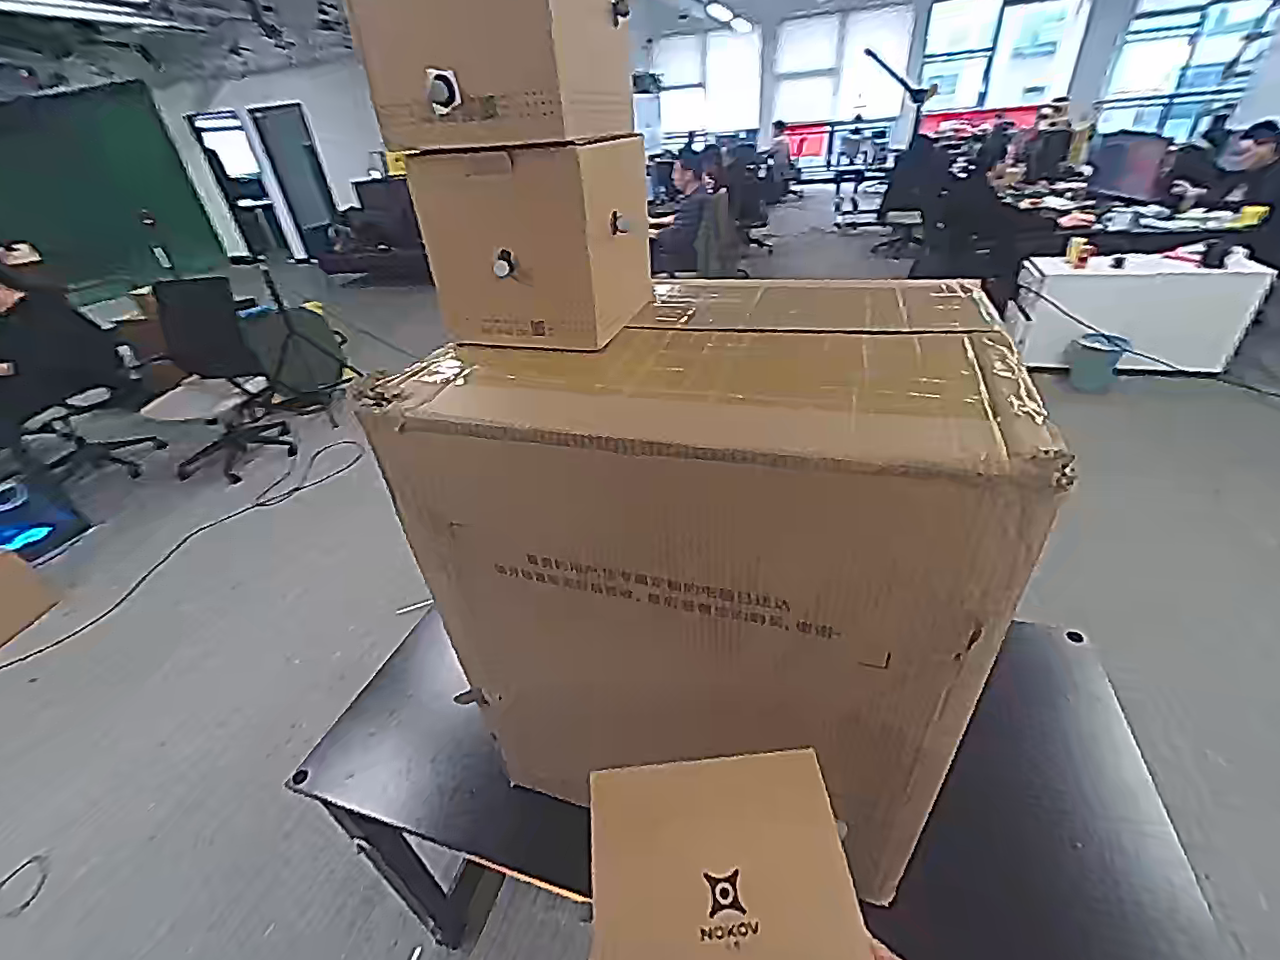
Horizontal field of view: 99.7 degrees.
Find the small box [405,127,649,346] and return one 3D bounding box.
[{"bbox_3d":[-0.092,-0.243,0.542,0.168,0.176,0.179,7,36,16],"label":"small box"}]

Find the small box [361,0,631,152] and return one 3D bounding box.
[{"bbox_3d":[-0.109,-0.372,0.442,0.168,0.176,0.179,5,35,16],"label":"small box"}]
